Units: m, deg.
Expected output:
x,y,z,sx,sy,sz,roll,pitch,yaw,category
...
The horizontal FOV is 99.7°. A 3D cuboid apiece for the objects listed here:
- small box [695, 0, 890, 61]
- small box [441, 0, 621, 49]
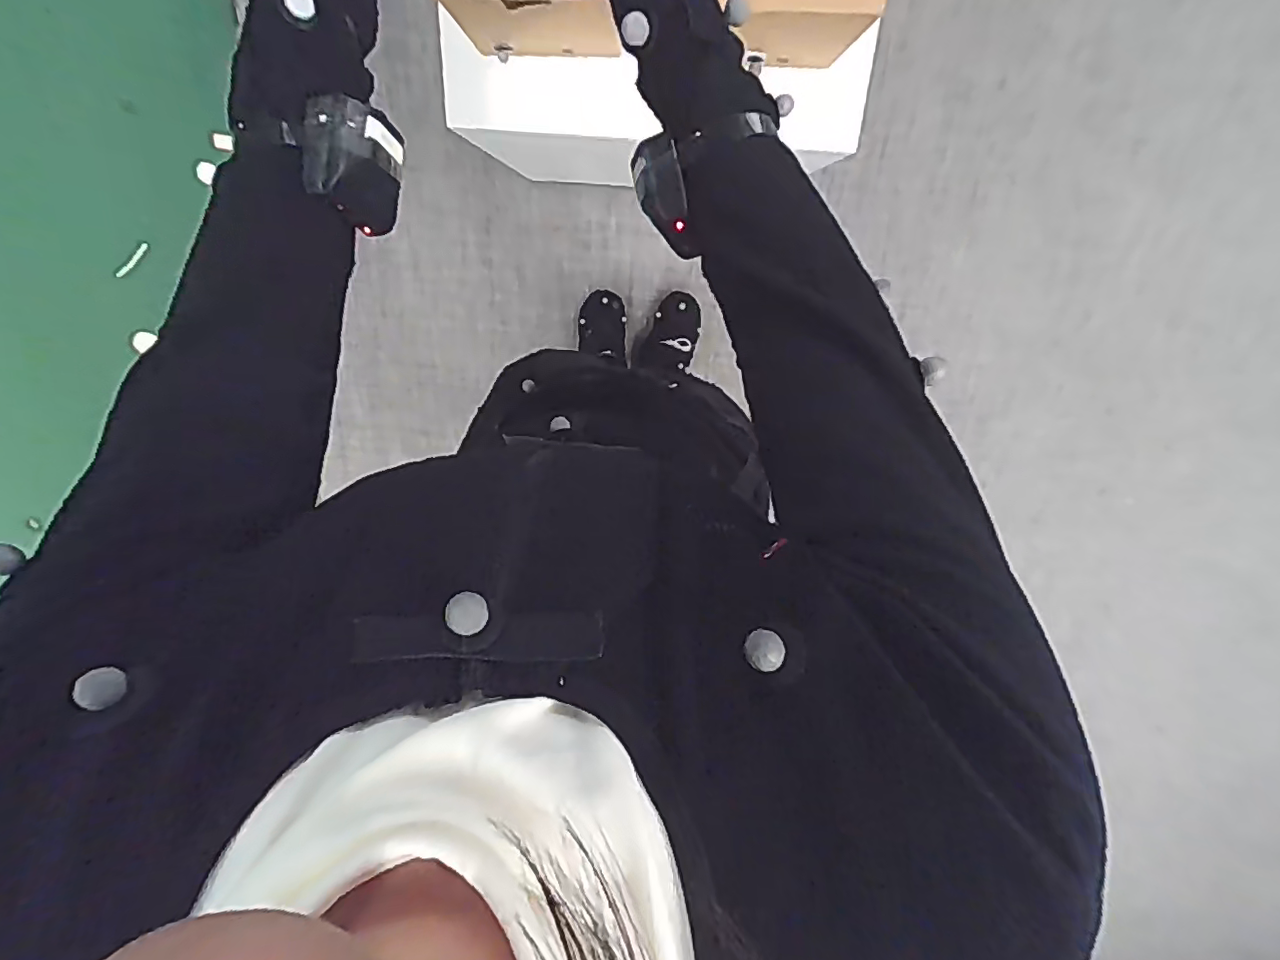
x,y,z,sx,sy,sz,roll,pitch,yaw,category
0.142,-0.532,0.514,0.168,0.176,0.179,1,115,1,small box
-0.104,-0.549,0.524,0.168,0.176,0.179,1,112,0,small box
